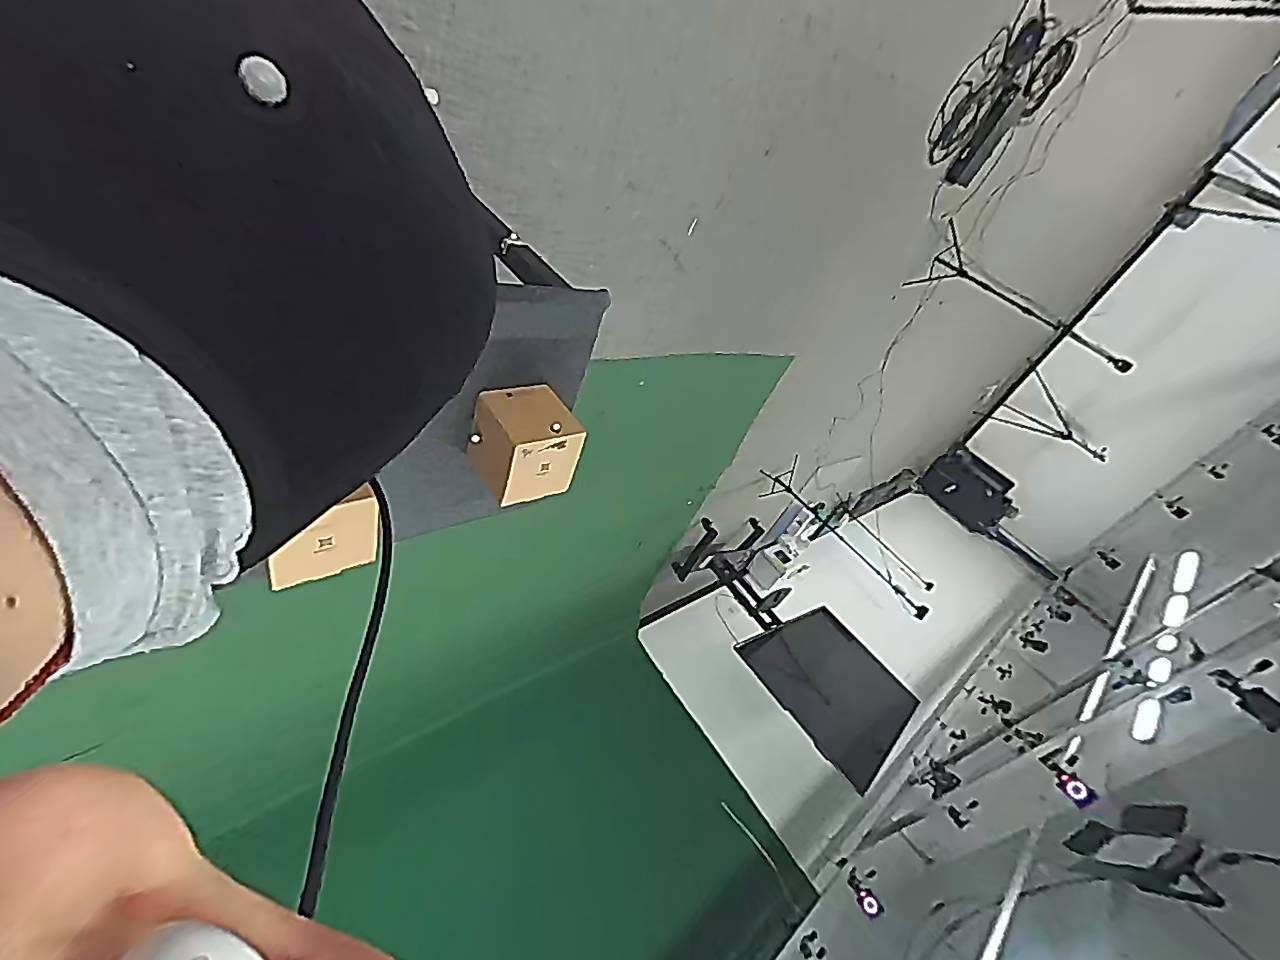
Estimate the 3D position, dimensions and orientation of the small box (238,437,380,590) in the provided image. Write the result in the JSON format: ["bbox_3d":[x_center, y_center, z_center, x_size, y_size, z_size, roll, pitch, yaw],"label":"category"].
[{"bbox_3d":[-0.568,0.052,0.934,0.168,0.176,0.179,-18,144,-40],"label":"small box"}]

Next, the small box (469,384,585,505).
[{"bbox_3d":[-0.247,-0.079,1.152,0.168,0.176,0.179,-17,146,-40],"label":"small box"}]
